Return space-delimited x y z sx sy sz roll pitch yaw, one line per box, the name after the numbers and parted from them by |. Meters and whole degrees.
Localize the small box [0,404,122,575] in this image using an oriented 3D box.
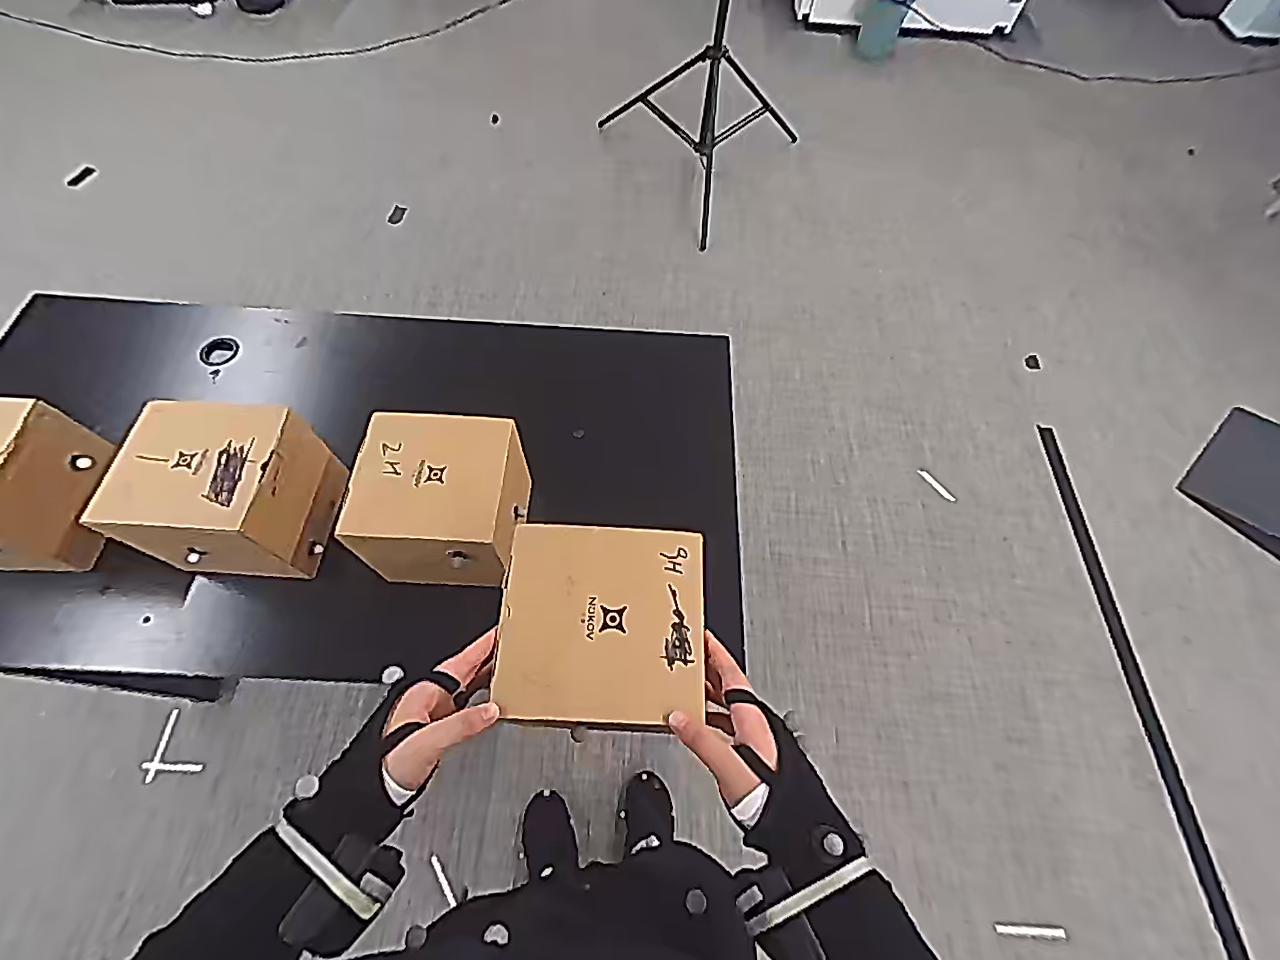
-0.813 0.017 0.689 0.179 0.176 0.168 0 61 -2 | small box

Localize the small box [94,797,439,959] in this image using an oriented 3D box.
-0.237 0.325 0.360 0.168 0.176 0.179 11 45 -14 | small box

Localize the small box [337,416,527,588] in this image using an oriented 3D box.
-0.248 0.035 0.701 0.179 0.176 0.168 2 61 -2 | small box

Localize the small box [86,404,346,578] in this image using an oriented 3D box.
-0.518 0.022 0.697 0.179 0.176 0.168 3 62 0 | small box
